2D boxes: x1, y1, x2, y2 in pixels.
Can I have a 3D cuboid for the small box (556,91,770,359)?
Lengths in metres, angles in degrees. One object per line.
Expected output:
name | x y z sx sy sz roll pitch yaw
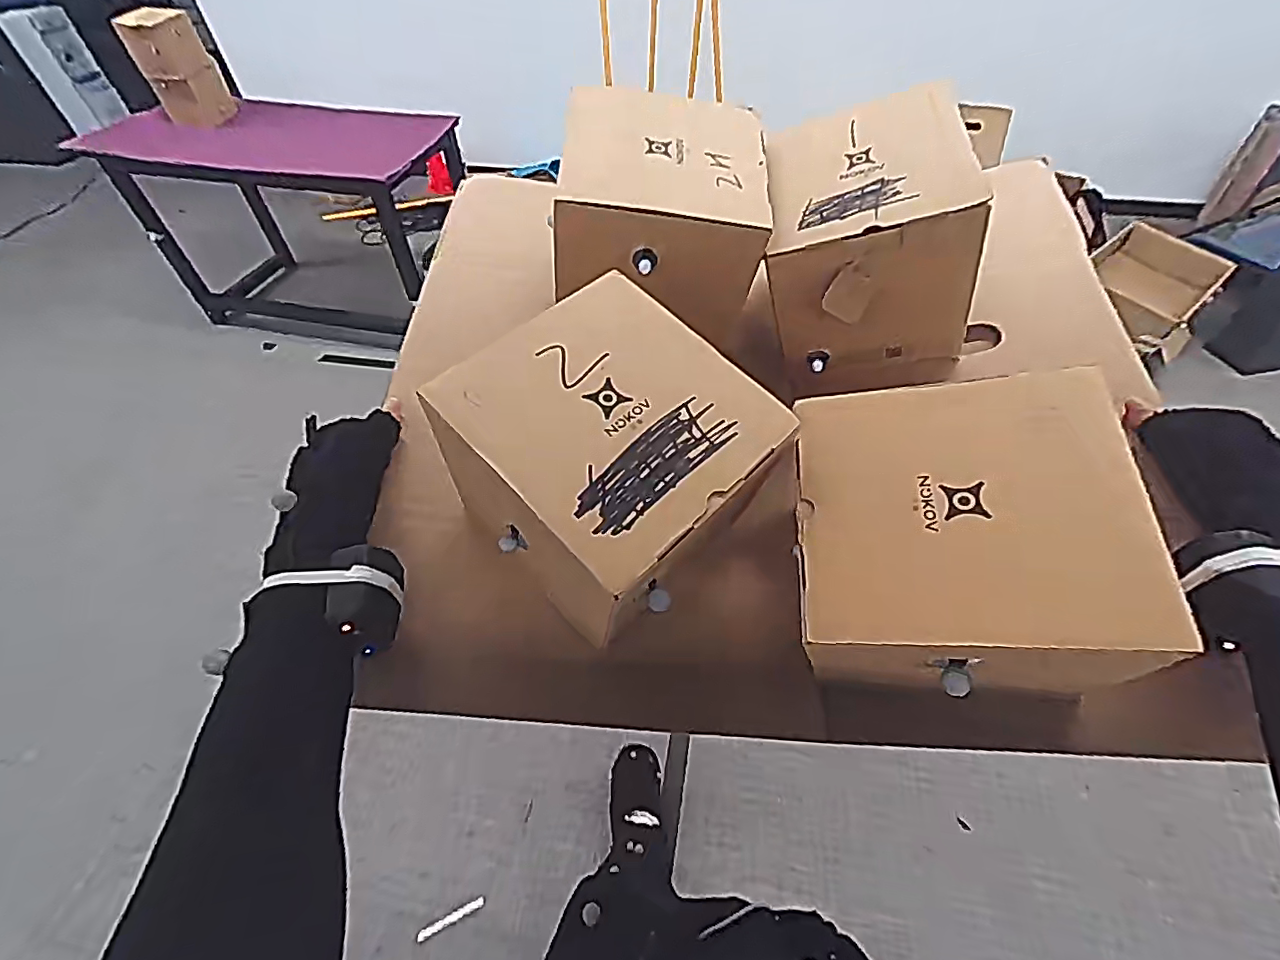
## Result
small box | 0.015 -0.240 0.536 0.179 0.176 0.168 6 63 -5
